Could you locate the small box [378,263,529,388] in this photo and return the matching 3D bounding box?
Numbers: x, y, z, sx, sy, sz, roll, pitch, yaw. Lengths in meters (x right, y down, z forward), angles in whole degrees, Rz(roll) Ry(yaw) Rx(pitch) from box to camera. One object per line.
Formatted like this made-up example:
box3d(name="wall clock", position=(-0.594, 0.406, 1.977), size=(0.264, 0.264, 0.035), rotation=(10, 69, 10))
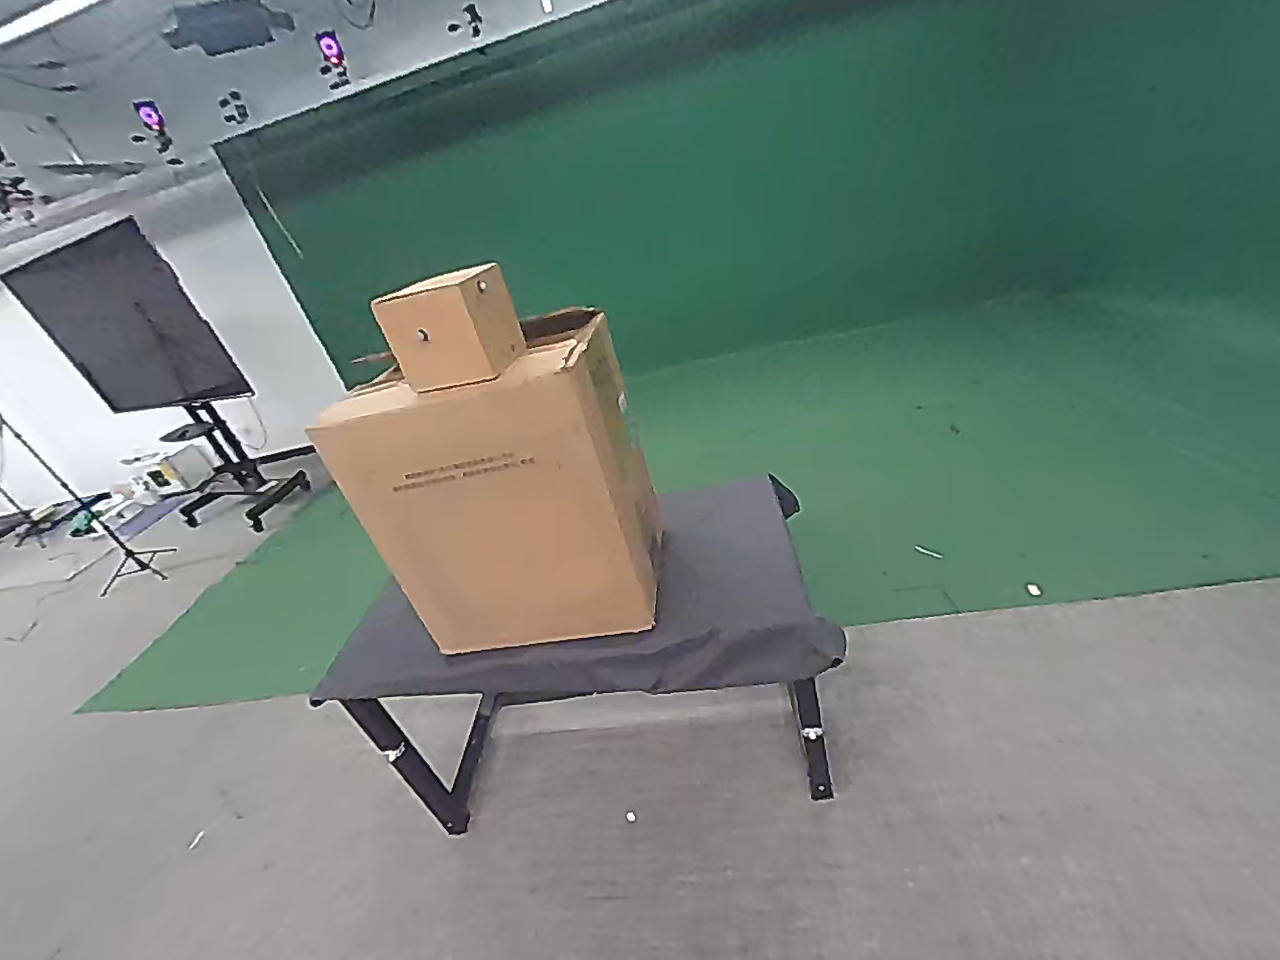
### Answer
box3d(name="small box", position=(-0.334, -0.283, 1.003), size=(0.179, 0.176, 0.168), rotation=(-7, 31, 17))
